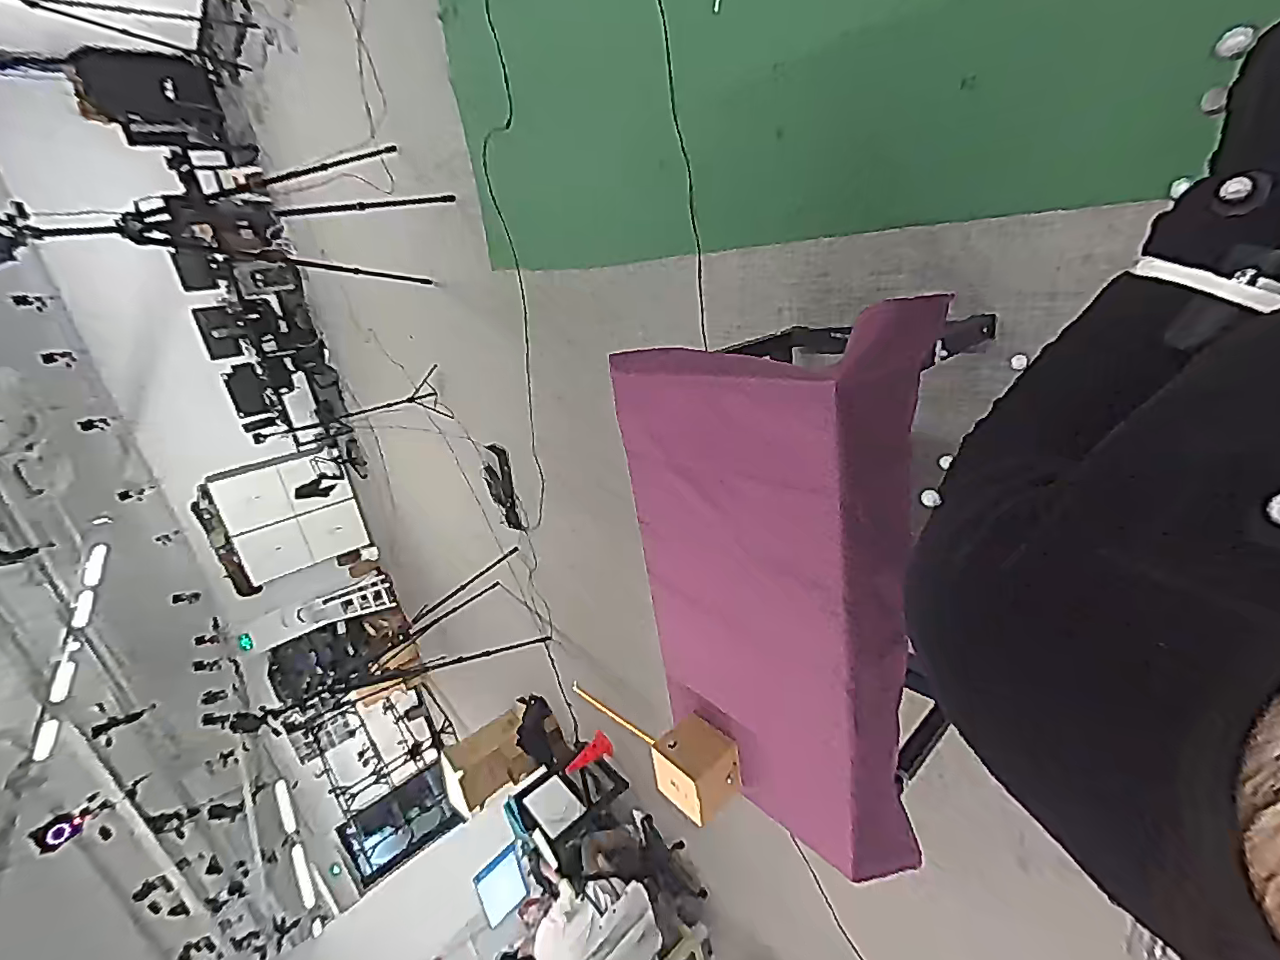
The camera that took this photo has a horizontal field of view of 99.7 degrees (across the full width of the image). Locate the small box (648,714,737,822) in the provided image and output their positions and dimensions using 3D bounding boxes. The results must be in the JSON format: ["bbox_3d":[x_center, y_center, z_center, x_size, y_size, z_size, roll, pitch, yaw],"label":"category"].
[{"bbox_3d":[0.148,0.791,1.510,0.179,0.176,0.168,15,121,48],"label":"small box"}]
